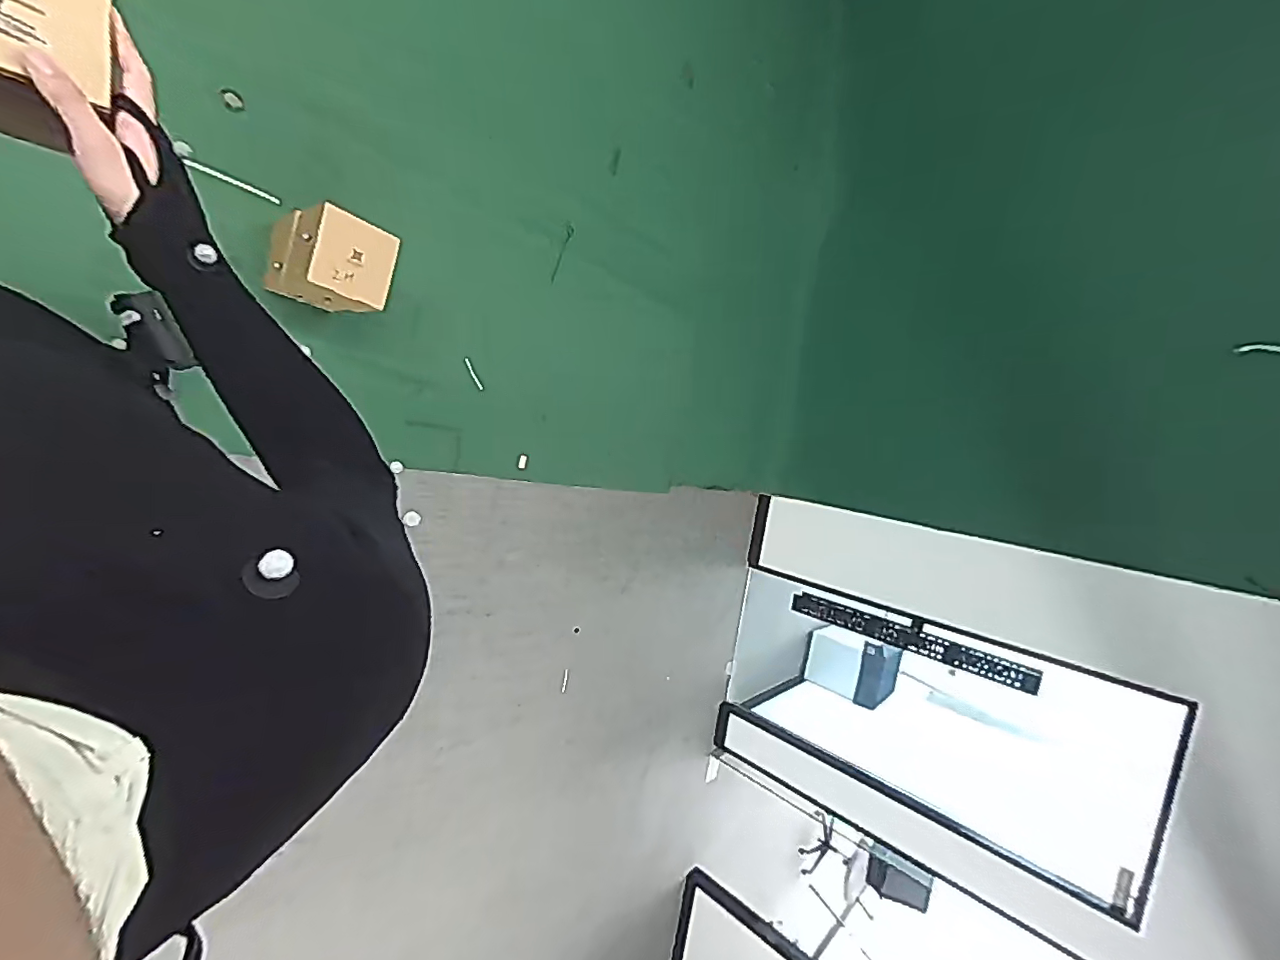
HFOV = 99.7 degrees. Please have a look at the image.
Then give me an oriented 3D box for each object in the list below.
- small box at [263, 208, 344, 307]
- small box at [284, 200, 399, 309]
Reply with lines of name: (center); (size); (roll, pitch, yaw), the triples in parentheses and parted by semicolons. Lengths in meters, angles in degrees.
small box: (-0.816, -0.547, 1.354); (0.168, 0.176, 0.179); (11, 93, -50)
small box: (-0.693, -0.512, 1.250); (0.168, 0.176, 0.179); (14, 91, -50)
